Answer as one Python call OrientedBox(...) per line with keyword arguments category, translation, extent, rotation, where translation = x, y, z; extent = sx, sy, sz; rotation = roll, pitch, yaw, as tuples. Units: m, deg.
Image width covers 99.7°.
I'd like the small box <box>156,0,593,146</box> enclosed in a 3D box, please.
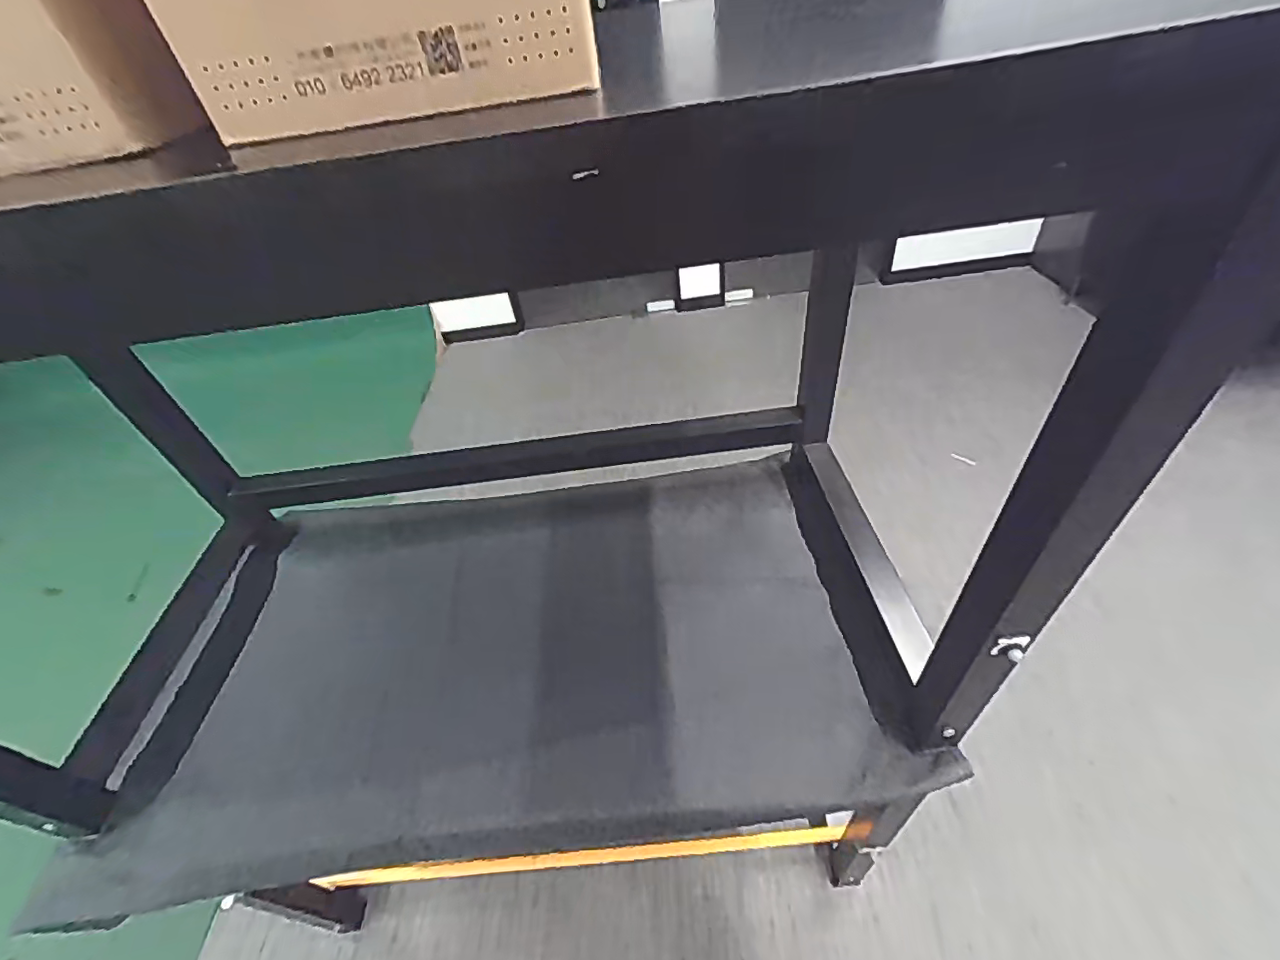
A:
OrientedBox(category="small box", translation=(-0.115, -0.266, 0.242), extent=(0.168, 0.176, 0.179), rotation=(-7, 43, 1))
